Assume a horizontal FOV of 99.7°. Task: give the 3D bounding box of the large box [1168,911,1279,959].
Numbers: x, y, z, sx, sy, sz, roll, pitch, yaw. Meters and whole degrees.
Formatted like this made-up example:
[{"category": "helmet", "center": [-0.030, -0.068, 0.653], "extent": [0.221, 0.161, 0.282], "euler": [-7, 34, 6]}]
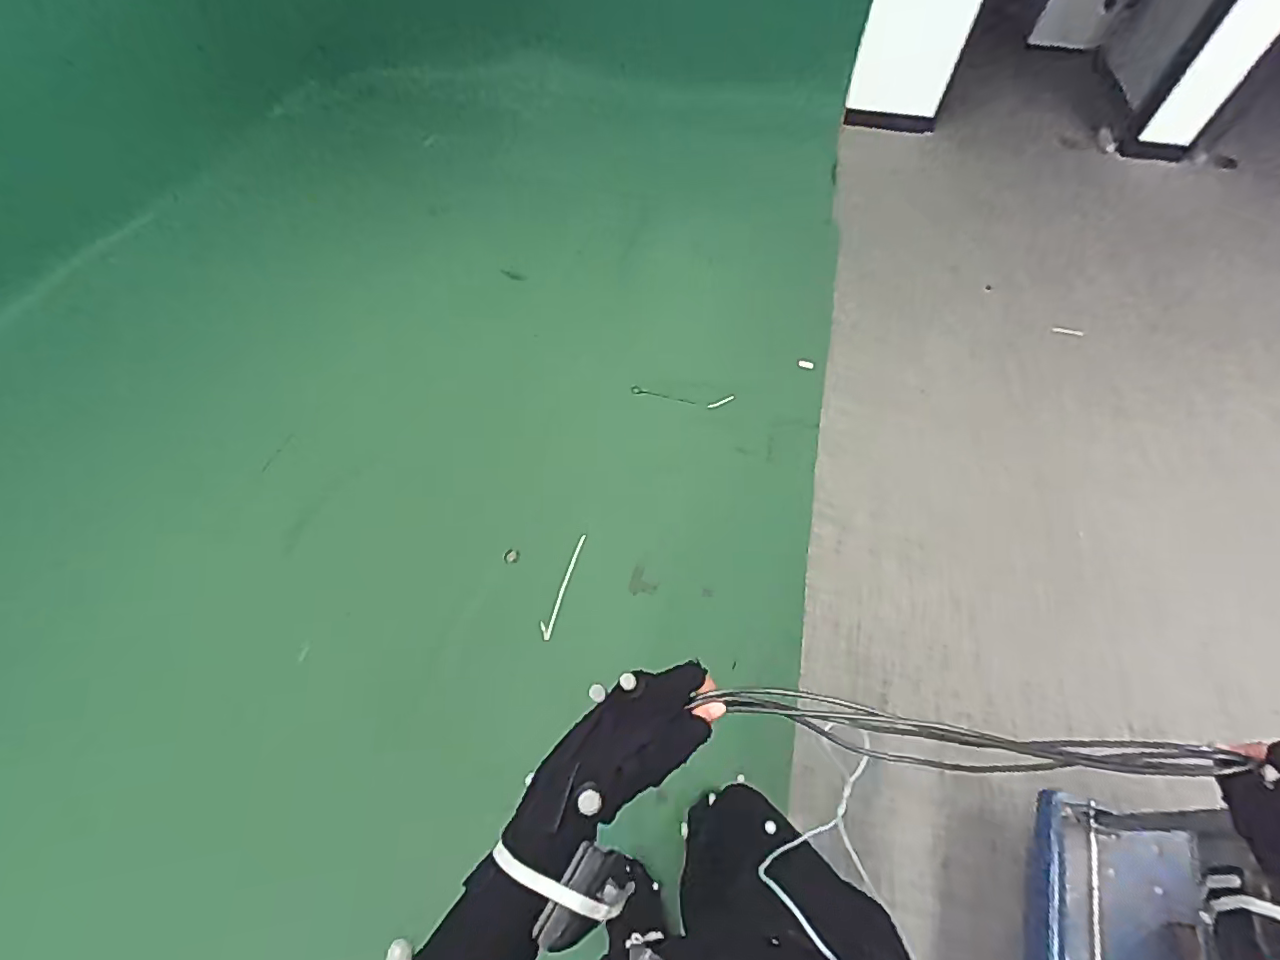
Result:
[{"category": "large box", "center": [1.109, 0.881, 0.759], "extent": [0.320, 0.320, 0.408], "euler": [0, 57, 1]}]
